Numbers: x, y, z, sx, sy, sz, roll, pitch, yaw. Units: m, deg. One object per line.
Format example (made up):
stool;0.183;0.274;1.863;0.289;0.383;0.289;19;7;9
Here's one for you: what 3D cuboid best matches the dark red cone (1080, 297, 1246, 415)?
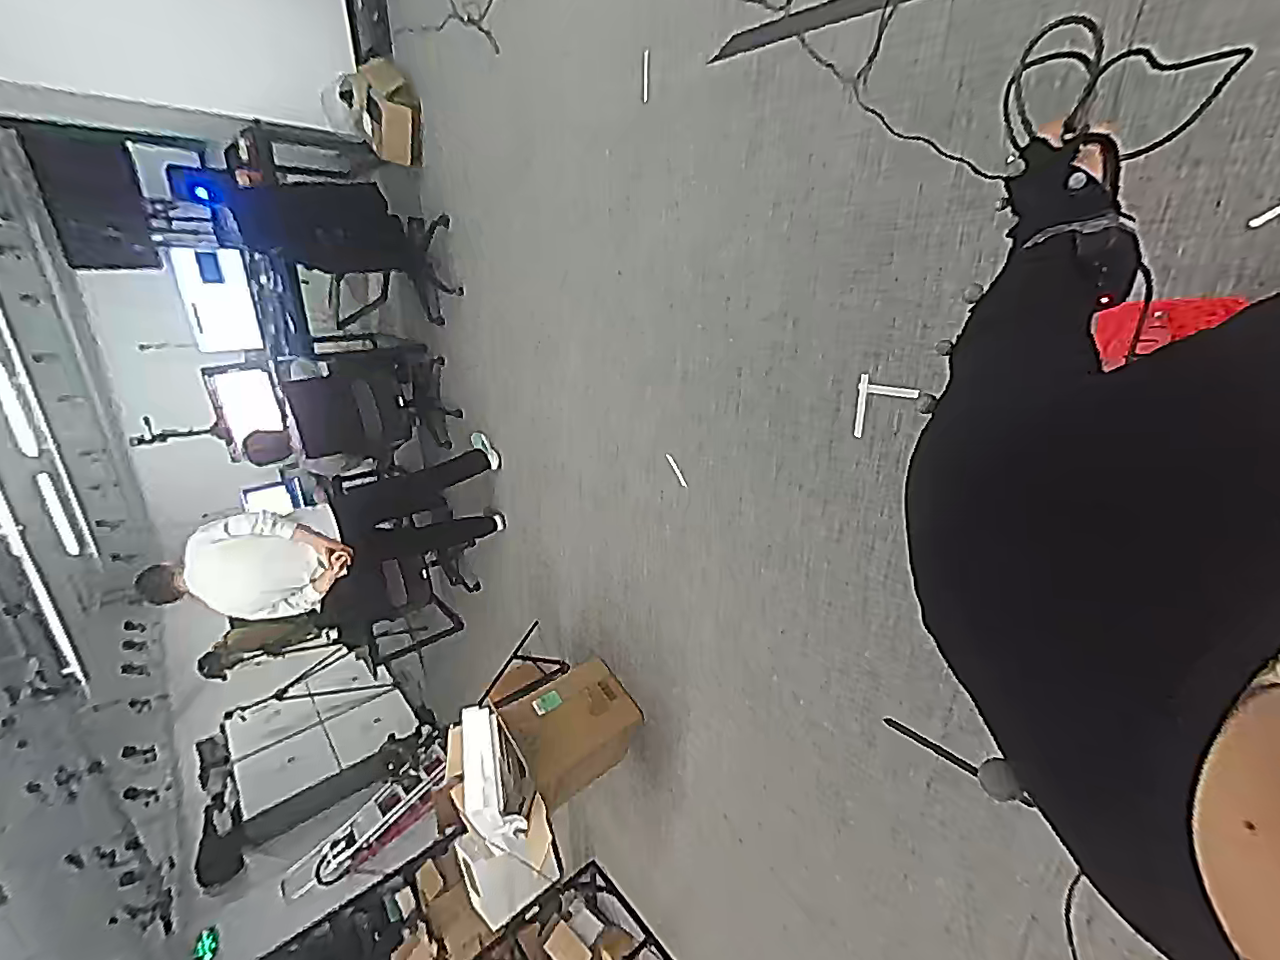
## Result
dark red cone;0.803;-0.184;0.874;0.202;0.394;0.201;14;113;48
